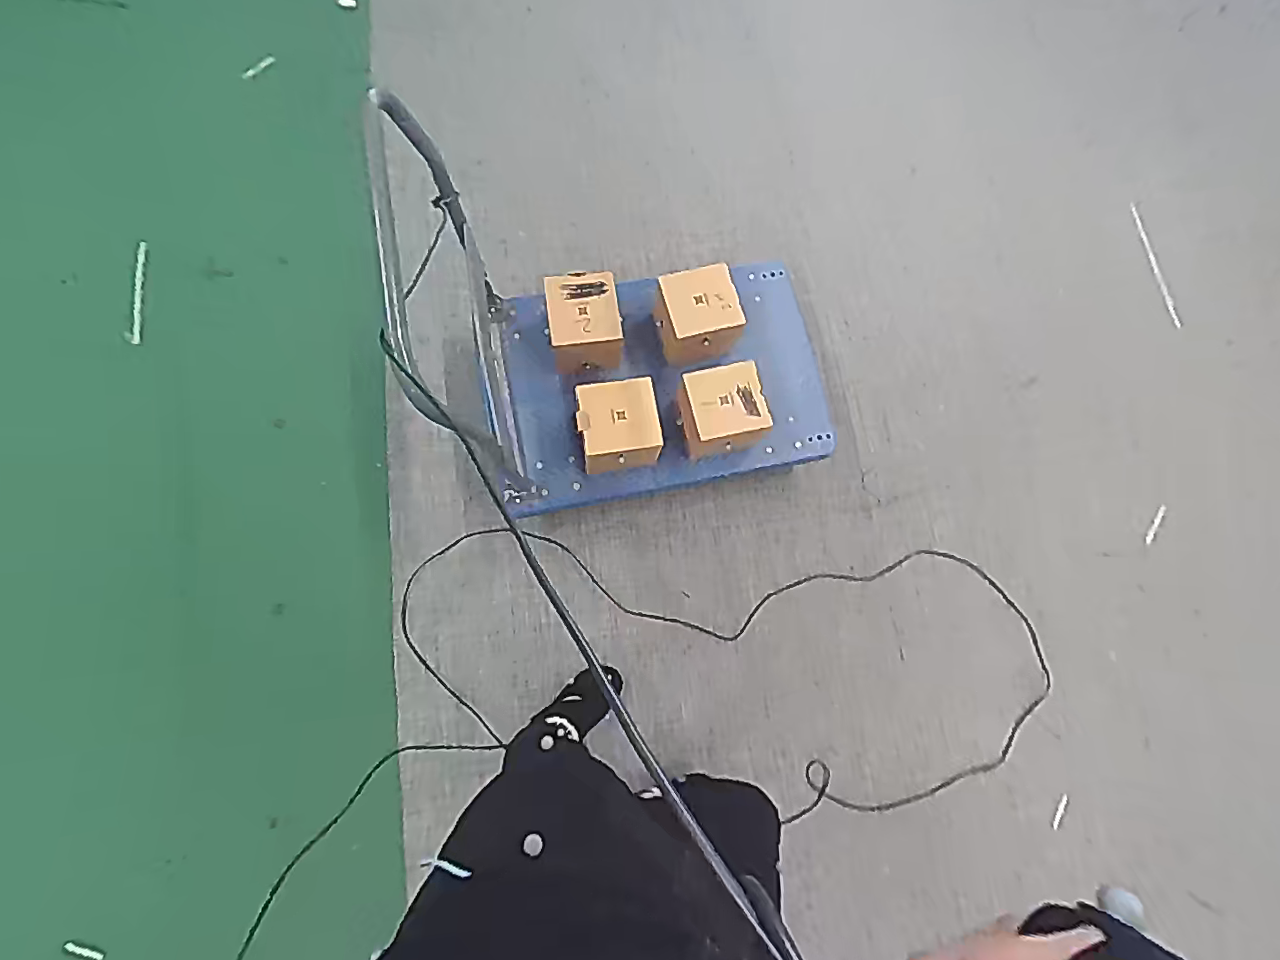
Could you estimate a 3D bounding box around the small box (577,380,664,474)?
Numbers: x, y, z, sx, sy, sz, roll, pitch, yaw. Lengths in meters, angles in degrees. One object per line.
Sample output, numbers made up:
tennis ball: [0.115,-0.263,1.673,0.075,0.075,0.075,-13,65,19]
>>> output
small box: [-0.051,-0.120,1.276,0.179,0.176,0.168,-8,78,-6]

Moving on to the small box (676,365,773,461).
small box: [0.195,-0.155,1.301,0.179,0.176,0.168,-12,78,-6]

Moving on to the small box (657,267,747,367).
small box: [0.145,-0.400,1.352,0.179,0.176,0.168,-14,79,-7]
